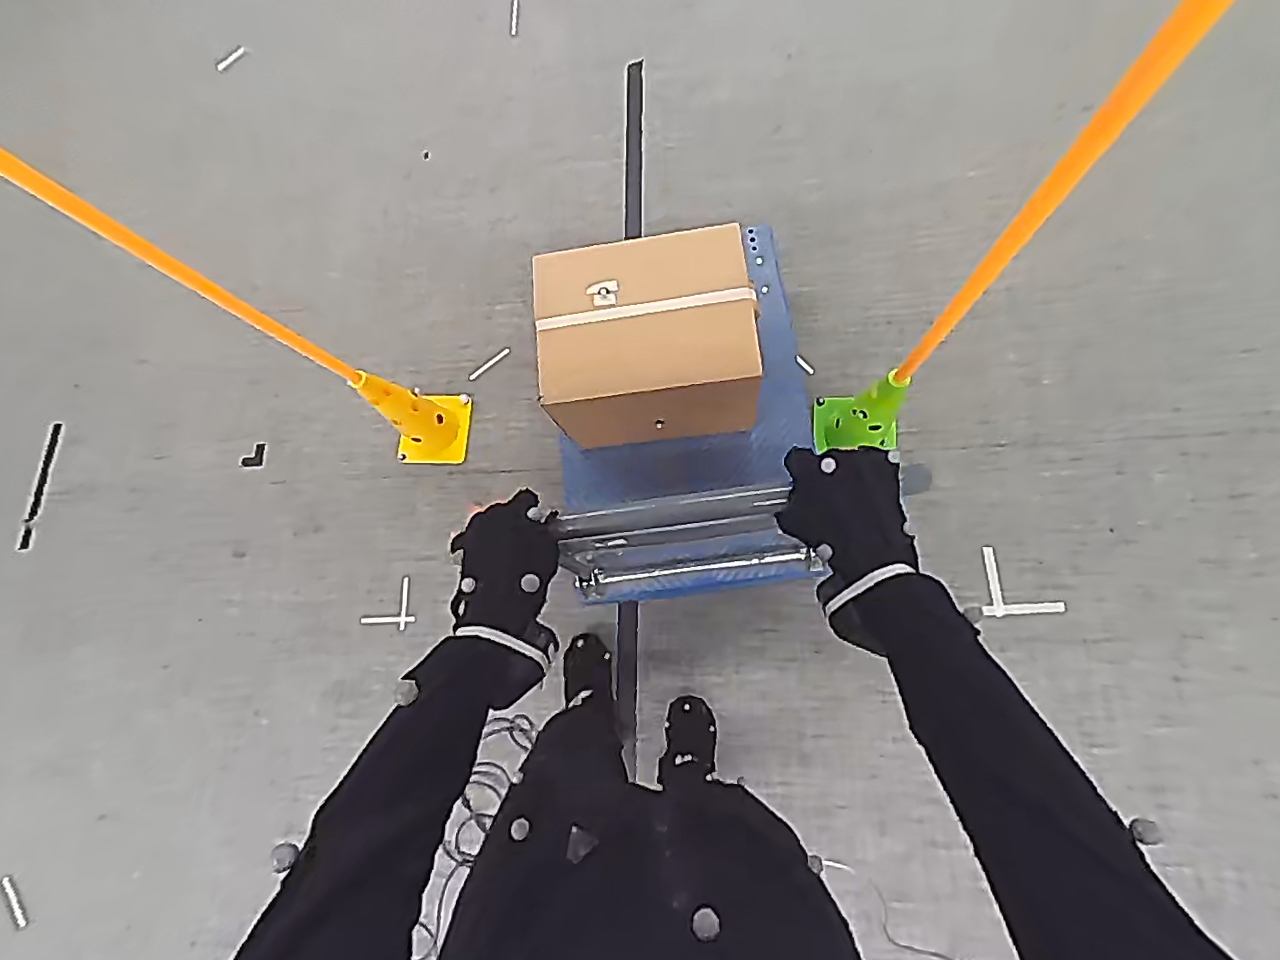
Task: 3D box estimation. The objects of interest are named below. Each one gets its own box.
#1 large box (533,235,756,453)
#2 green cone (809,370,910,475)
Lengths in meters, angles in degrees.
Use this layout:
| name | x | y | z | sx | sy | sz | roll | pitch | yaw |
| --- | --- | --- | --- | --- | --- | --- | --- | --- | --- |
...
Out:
| name | x | y | z | sx | sy | sz | roll | pitch | yaw |
| --- | --- | --- | --- | --- | --- | --- | --- | --- | --- |
| large box | 0.020 | -0.263 | 1.159 | 0.408 | 0.320 | 0.320 | -7 | 76 | 7 |
| green cone | 0.514 | -0.149 | 1.210 | 0.202 | 0.368 | 0.200 | 2 | 77 | 7 |
